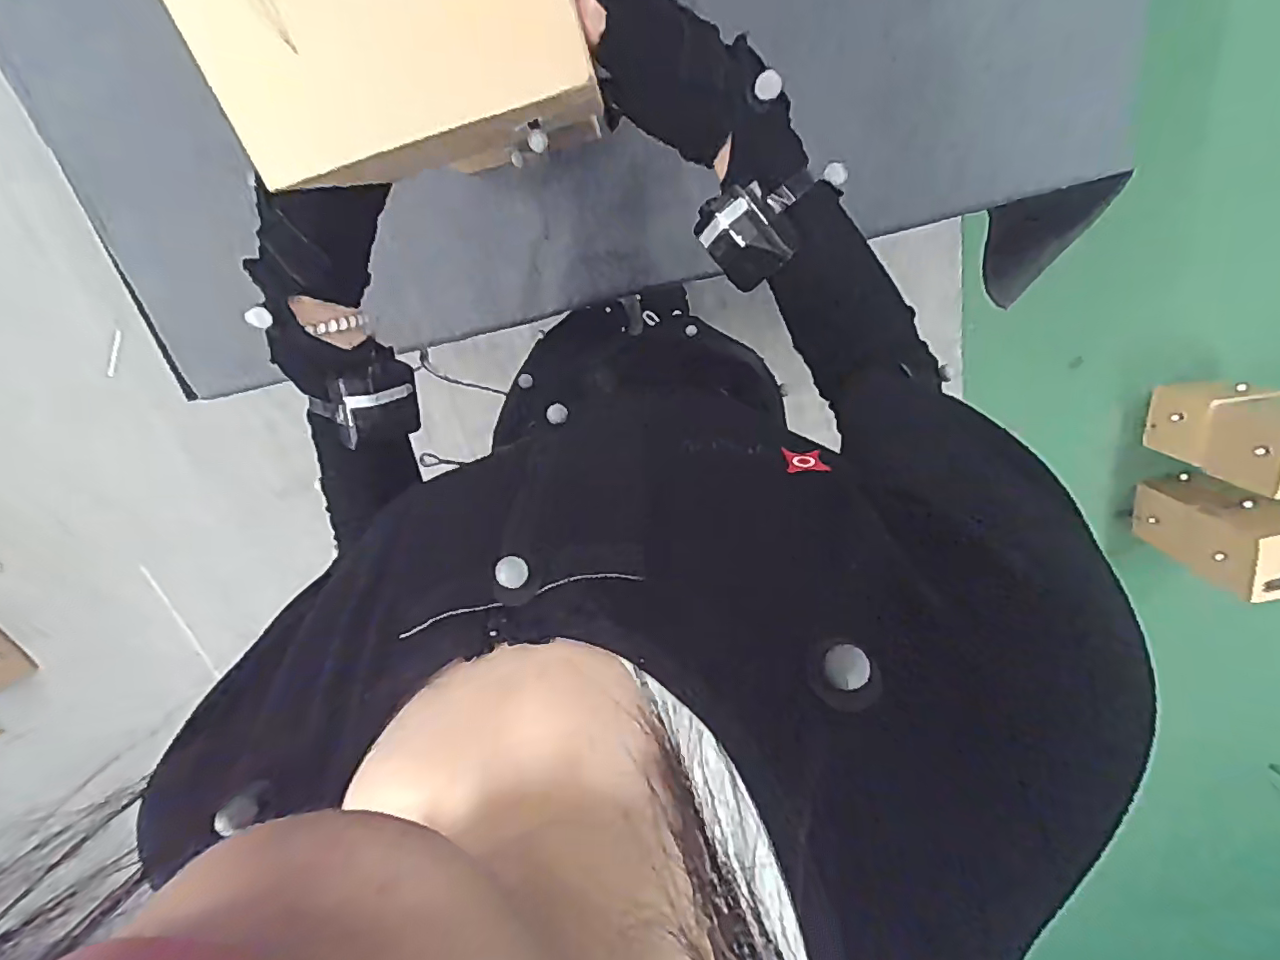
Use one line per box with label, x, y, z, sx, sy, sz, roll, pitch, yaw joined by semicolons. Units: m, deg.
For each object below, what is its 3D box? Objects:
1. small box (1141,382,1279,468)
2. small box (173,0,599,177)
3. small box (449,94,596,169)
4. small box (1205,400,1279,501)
small box;1.402;-0.140;1.334;0.179;0.176;0.168;-7;111;5
small box;-0.127;-0.280;0.292;0.179;0.176;0.168;-14;119;6
small box;-0.146;-0.421;0.512;0.168;0.176;0.179;-11;111;7
small box;1.407;-0.074;1.182;0.168;0.176;0.179;-7;110;5
